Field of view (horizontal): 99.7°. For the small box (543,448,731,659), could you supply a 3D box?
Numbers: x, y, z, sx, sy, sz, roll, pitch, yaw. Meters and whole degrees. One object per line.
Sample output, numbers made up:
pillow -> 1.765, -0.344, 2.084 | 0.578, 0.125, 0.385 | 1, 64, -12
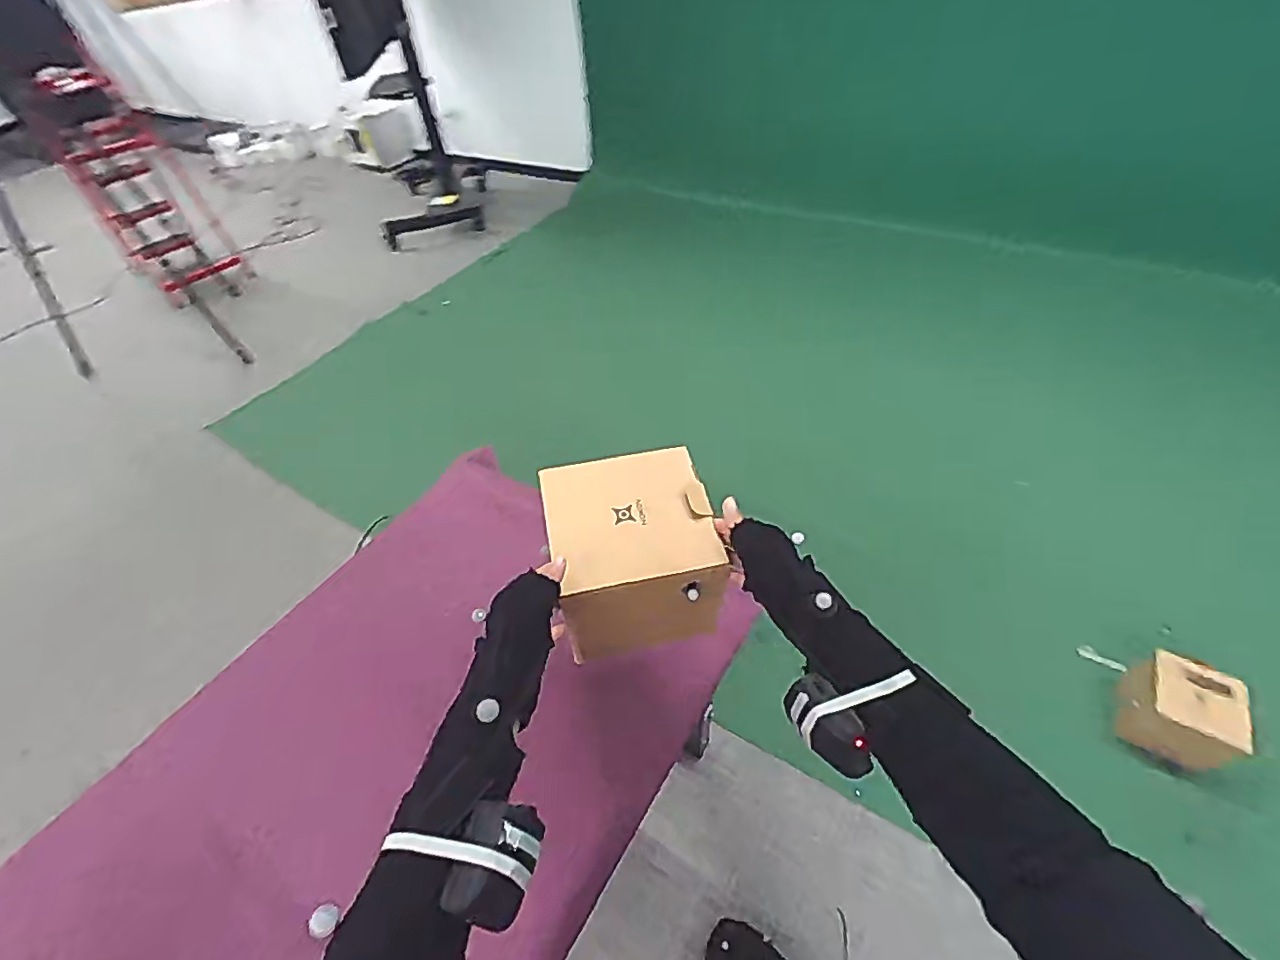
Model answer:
small box -> -0.008, 0.089, 0.630 | 0.179, 0.176, 0.168 | -9, 50, -8
